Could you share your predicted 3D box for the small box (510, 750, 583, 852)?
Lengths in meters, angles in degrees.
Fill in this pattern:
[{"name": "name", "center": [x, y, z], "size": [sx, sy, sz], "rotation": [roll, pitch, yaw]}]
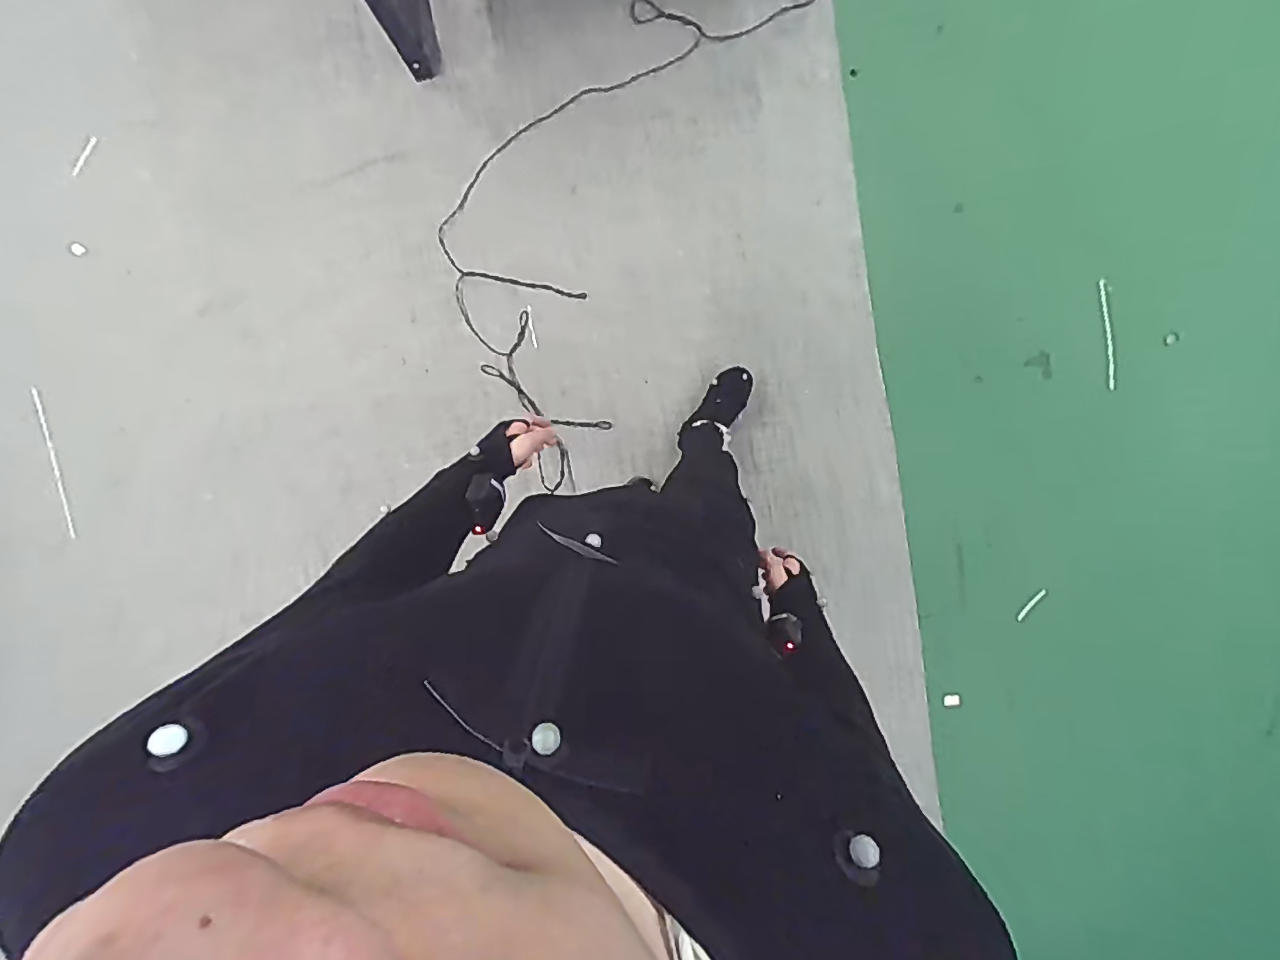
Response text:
[{"name": "small box", "center": [-0.242, 0.836, 1.424], "size": [0.168, 0.176, 0.179], "rotation": [0, 96, 2]}]
